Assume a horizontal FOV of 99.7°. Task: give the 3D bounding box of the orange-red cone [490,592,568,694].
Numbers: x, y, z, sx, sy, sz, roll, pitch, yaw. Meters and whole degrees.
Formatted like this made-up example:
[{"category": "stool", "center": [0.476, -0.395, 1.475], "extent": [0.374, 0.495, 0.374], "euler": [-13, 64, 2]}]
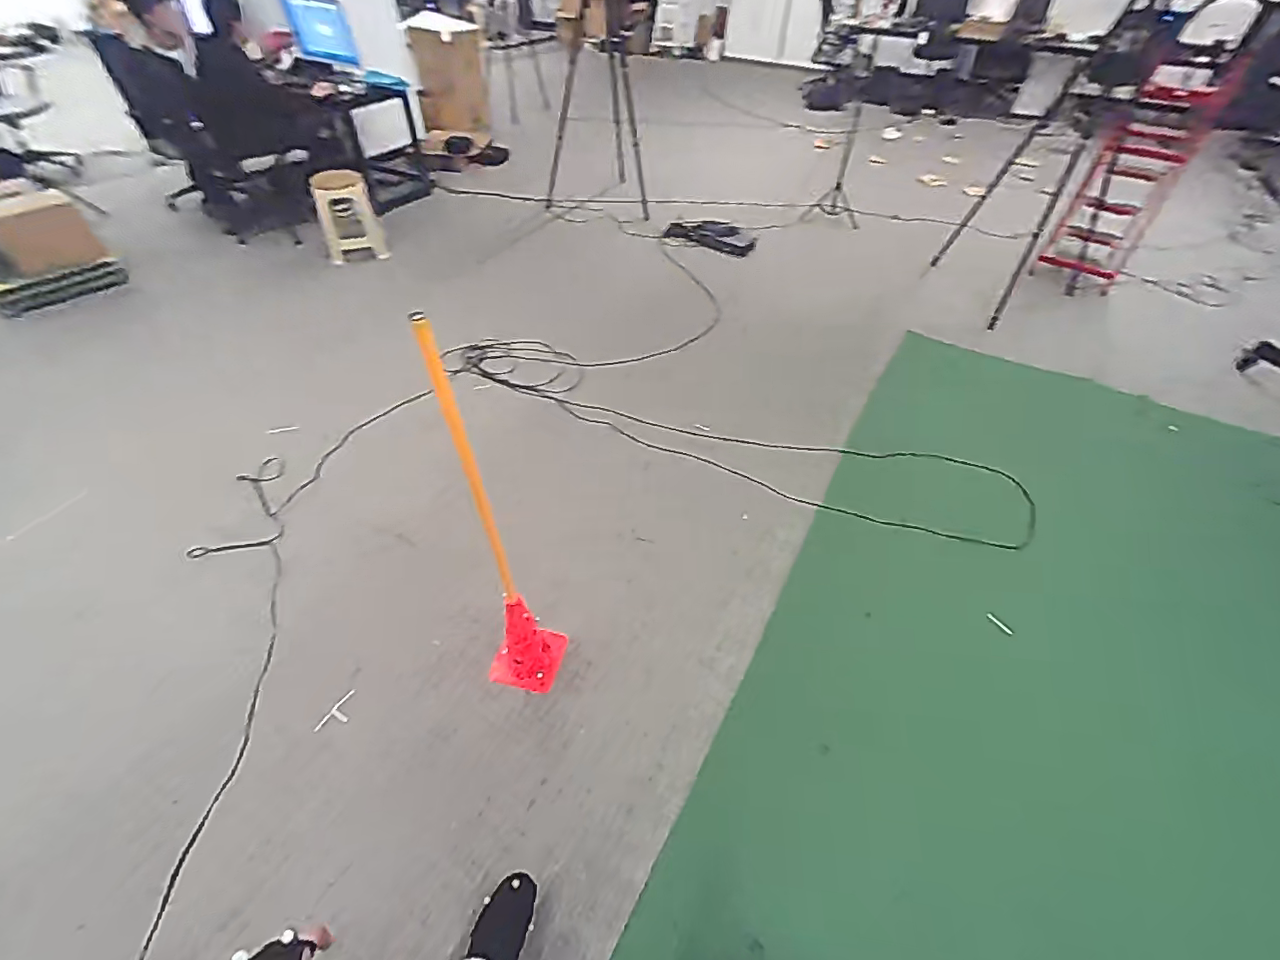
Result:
[{"category": "orange-red cone", "center": [-0.340, 0.435, 1.570], "extent": [0.198, 0.360, 0.199], "euler": [13, 46, 10]}]
